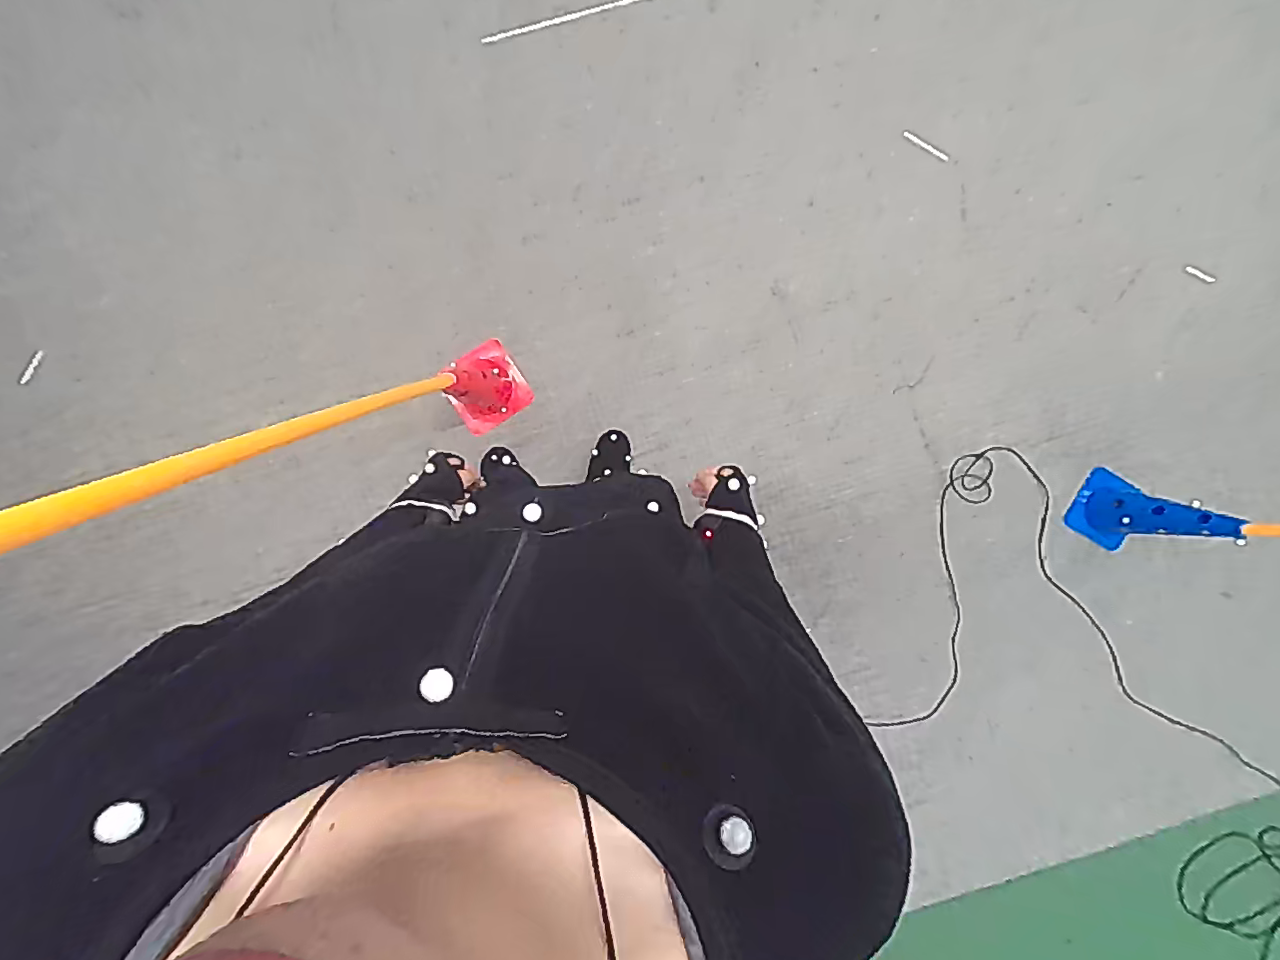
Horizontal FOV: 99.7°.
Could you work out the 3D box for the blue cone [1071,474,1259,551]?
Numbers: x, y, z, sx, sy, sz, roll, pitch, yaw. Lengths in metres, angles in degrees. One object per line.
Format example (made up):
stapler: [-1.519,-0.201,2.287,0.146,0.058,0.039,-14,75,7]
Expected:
blue cone: [1.379,0.106,1.419,0.192,0.380,0.193,28,92,-5]
